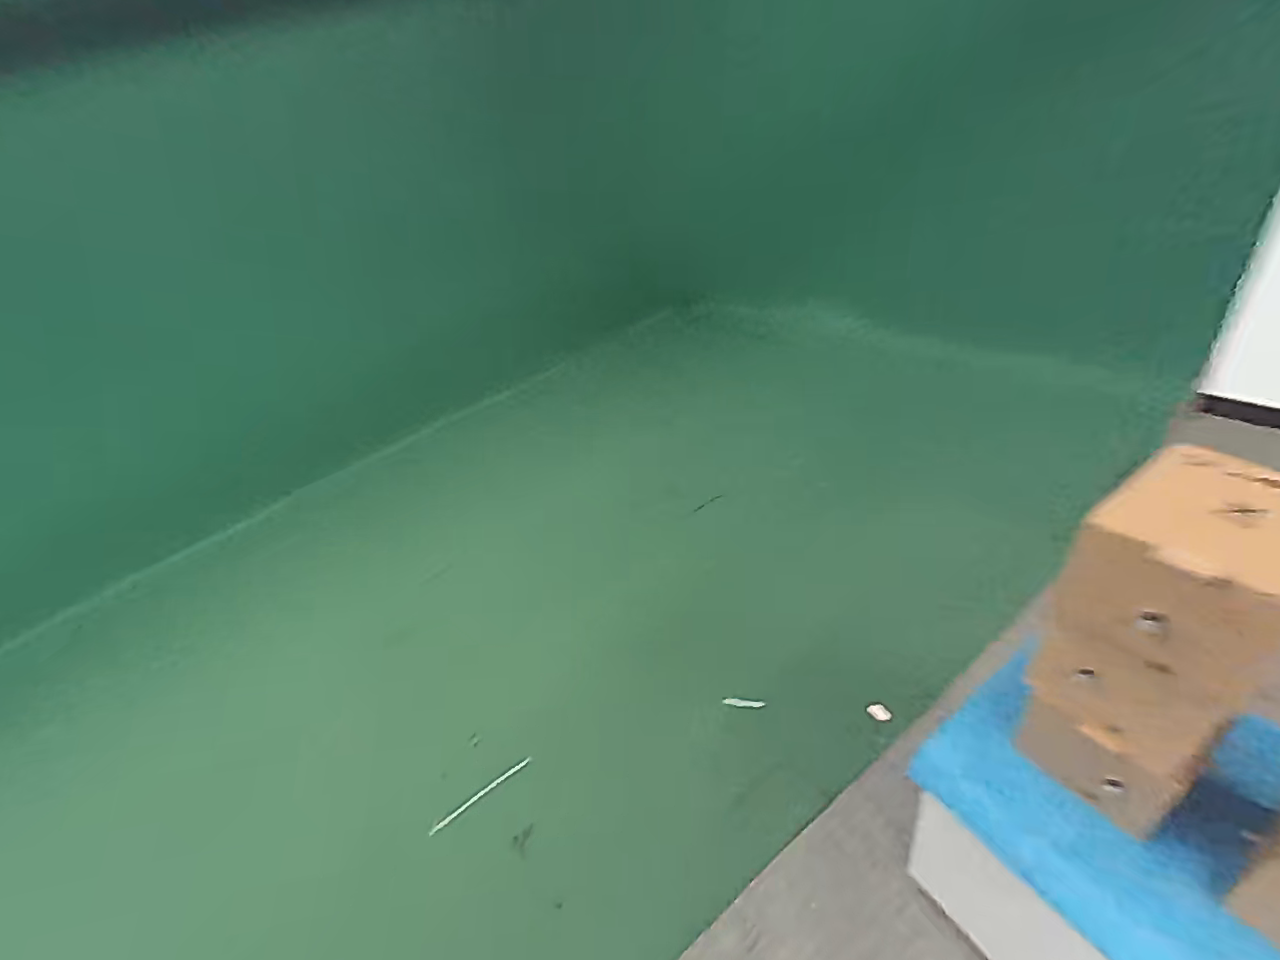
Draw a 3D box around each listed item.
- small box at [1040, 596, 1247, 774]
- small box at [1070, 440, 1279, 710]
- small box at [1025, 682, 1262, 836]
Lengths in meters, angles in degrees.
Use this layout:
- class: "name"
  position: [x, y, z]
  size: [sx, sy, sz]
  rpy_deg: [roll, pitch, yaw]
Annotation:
- class: "small box"
  position: [0.628, 0.212, 0.657]
  size: [0.179, 0.176, 0.168]
  rpy_deg: [-28, 39, -16]
- class: "small box"
  position: [0.584, 0.094, 0.551]
  size: [0.179, 0.176, 0.168]
  rpy_deg: [-29, 39, -16]
- class: "small box"
  position: [0.671, 0.342, 0.745]
  size: [0.179, 0.176, 0.168]
  rpy_deg: [-29, 39, -17]
